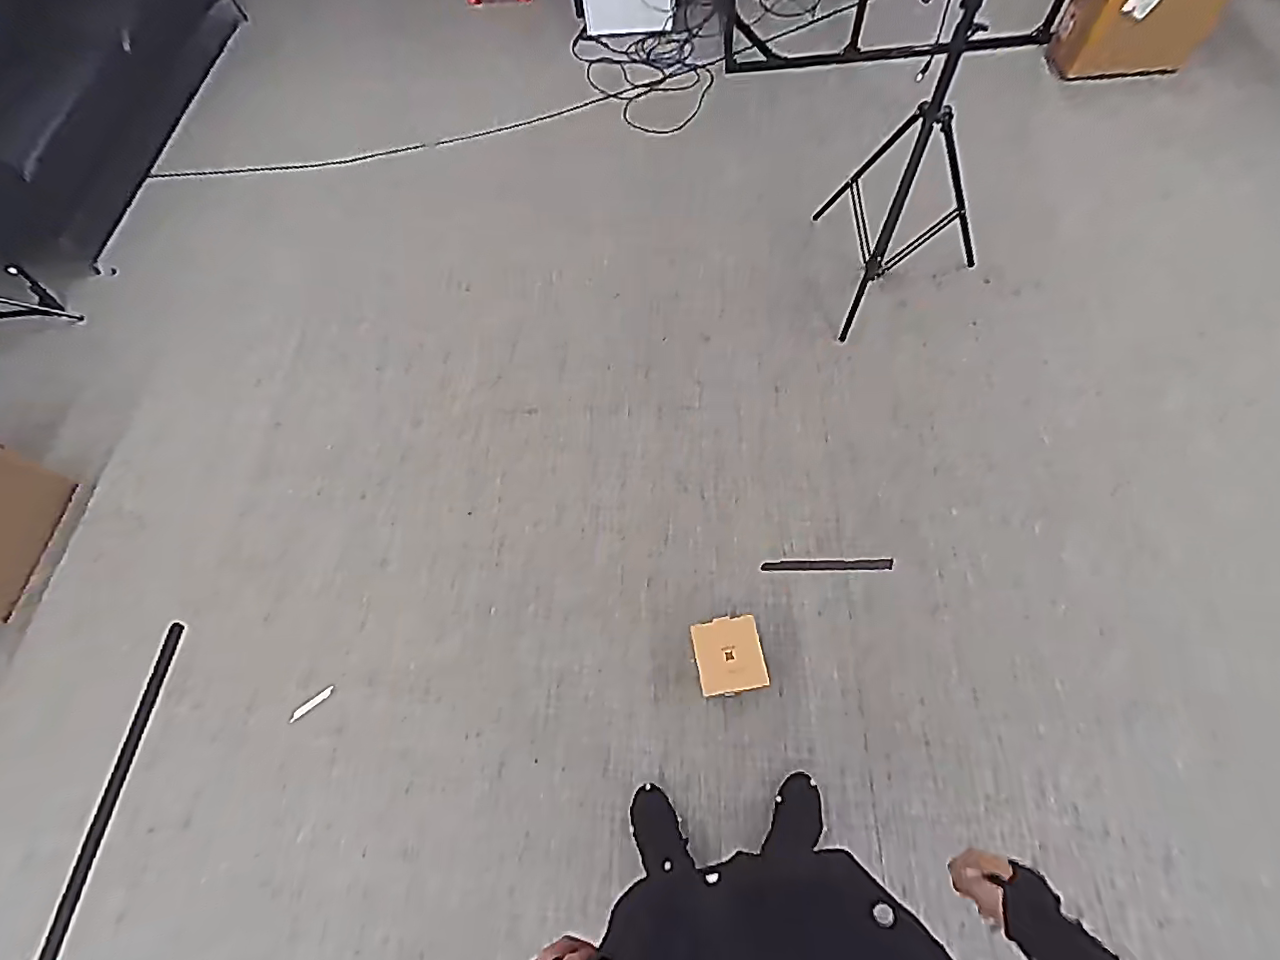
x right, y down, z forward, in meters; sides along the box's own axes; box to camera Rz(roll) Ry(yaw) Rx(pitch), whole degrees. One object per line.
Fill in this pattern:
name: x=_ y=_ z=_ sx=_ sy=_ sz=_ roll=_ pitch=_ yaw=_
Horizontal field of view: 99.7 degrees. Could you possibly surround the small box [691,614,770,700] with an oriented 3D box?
small box: x=0.229 y=0.463 z=1.404 sx=0.168 sy=0.176 sz=0.179 roll=-11 pitch=64 yaw=2
